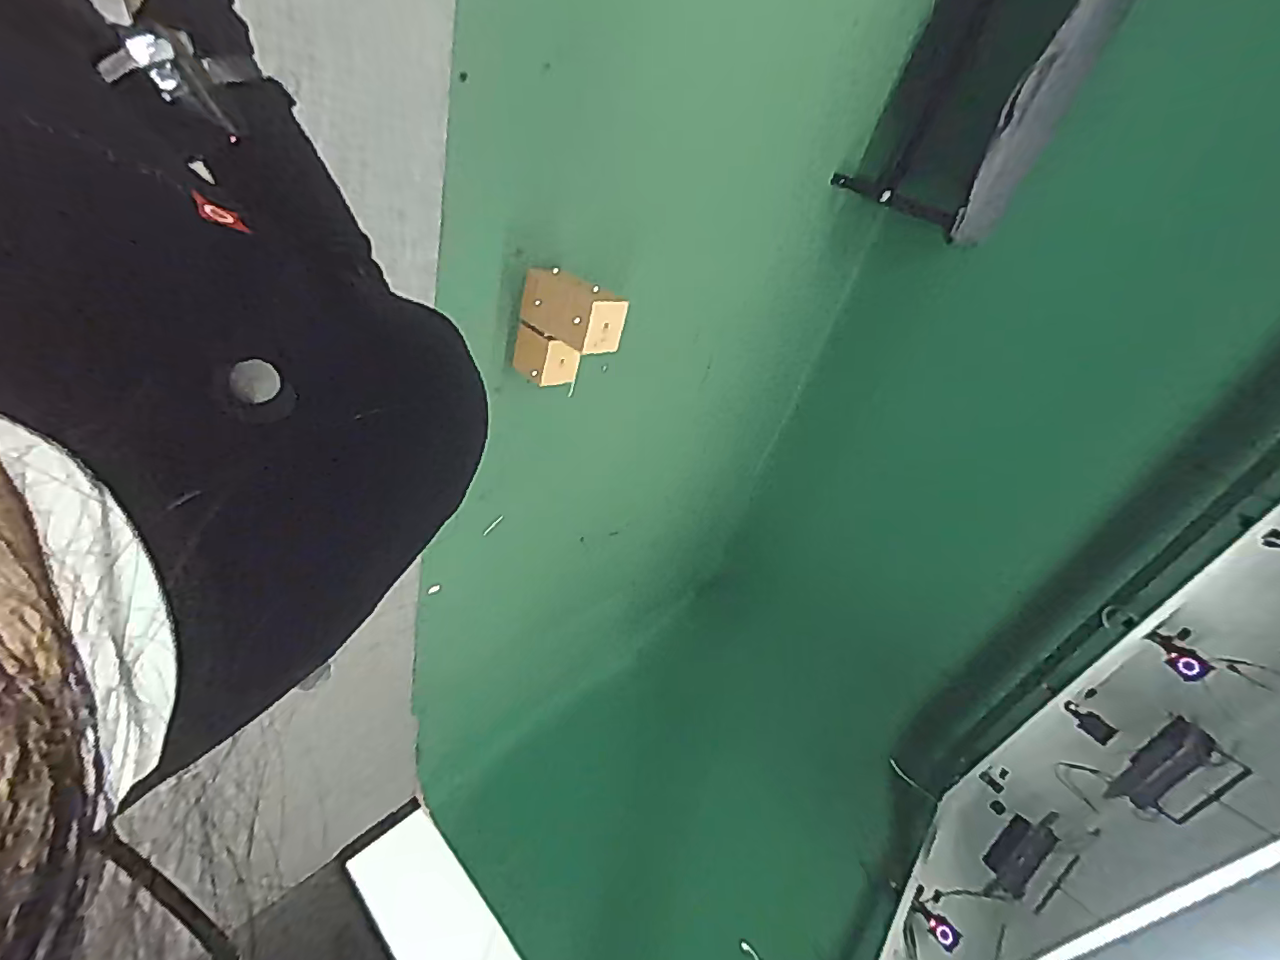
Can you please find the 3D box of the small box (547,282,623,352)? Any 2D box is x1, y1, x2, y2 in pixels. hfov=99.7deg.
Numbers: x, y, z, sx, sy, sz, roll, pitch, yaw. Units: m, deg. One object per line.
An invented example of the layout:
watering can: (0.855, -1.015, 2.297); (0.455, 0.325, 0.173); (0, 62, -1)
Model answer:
small box: (-0.186, -0.541, 1.784); (0.168, 0.176, 0.179); (-19, 138, -47)
